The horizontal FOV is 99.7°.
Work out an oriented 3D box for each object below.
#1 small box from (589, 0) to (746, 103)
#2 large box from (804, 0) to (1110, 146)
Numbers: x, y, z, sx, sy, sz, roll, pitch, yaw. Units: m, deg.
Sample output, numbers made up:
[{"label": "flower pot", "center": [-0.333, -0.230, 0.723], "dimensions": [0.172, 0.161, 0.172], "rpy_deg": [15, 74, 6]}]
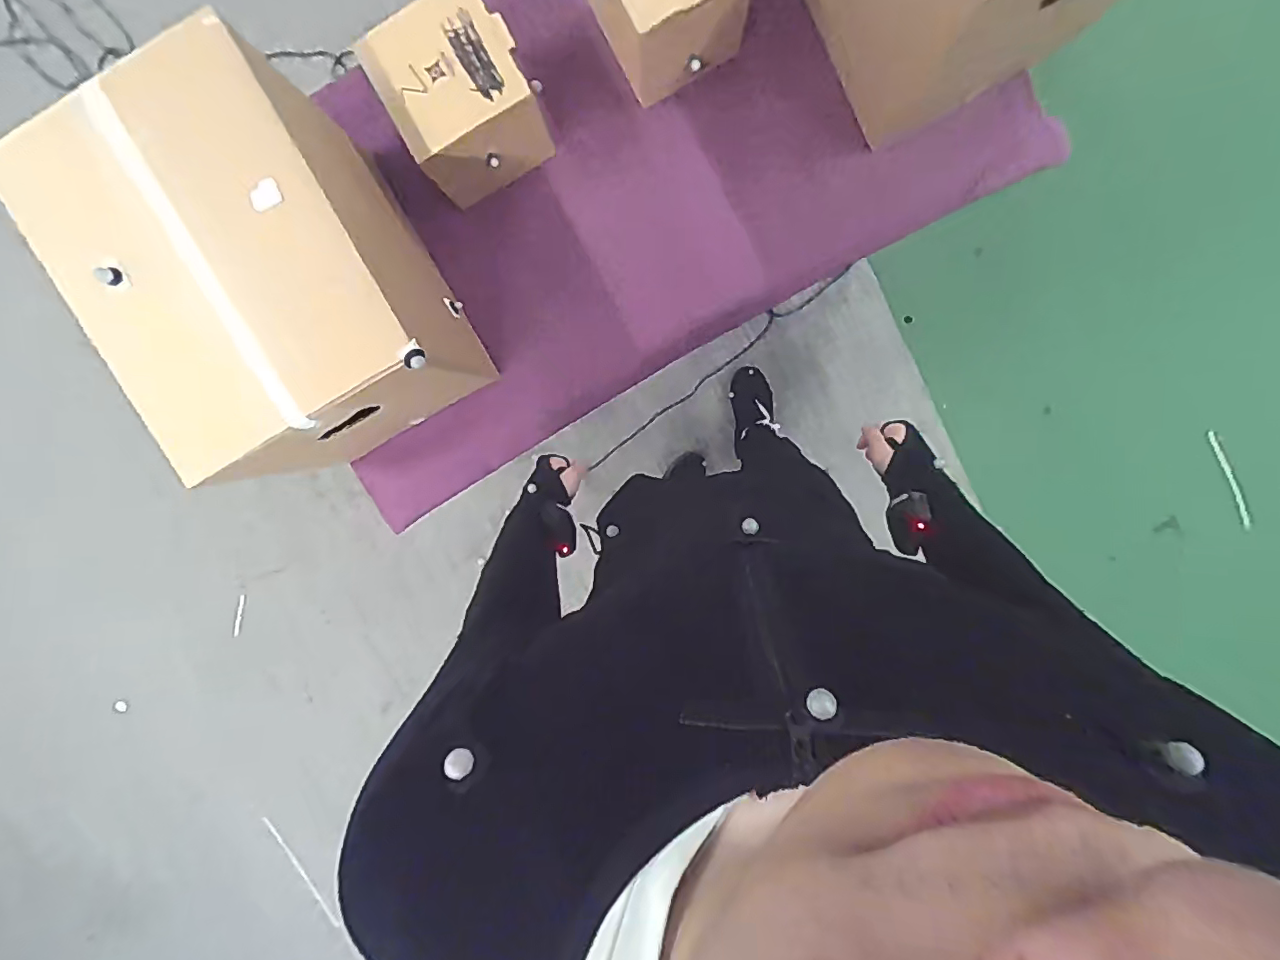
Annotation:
[{"label": "small box", "center": [0.029, -0.669, 0.729], "dimensions": [0.168, 0.176, 0.179], "rpy_deg": [-28, 96, 5]}, {"label": "large box", "center": [0.386, -0.724, 0.641], "dimensions": [0.320, 0.320, 0.408], "rpy_deg": [-27, 95, 6]}]
